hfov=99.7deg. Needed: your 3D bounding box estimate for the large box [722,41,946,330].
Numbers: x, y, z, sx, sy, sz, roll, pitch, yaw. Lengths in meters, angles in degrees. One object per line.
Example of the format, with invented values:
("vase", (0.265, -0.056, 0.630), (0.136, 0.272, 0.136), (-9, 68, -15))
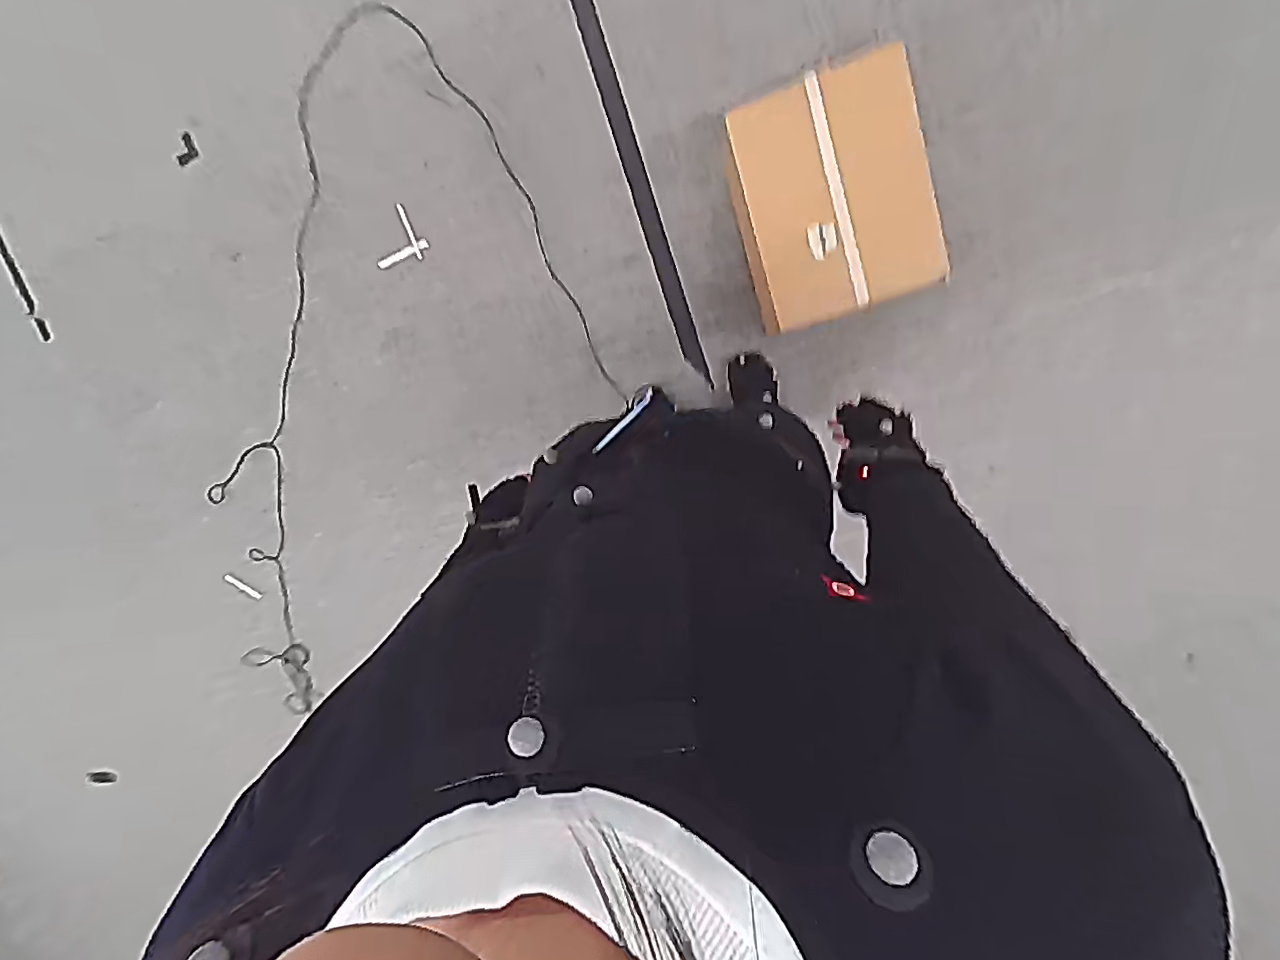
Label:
("large box", (0.375, -0.559, 1.125), (0.320, 0.320, 0.408), (-16, 101, 13))
